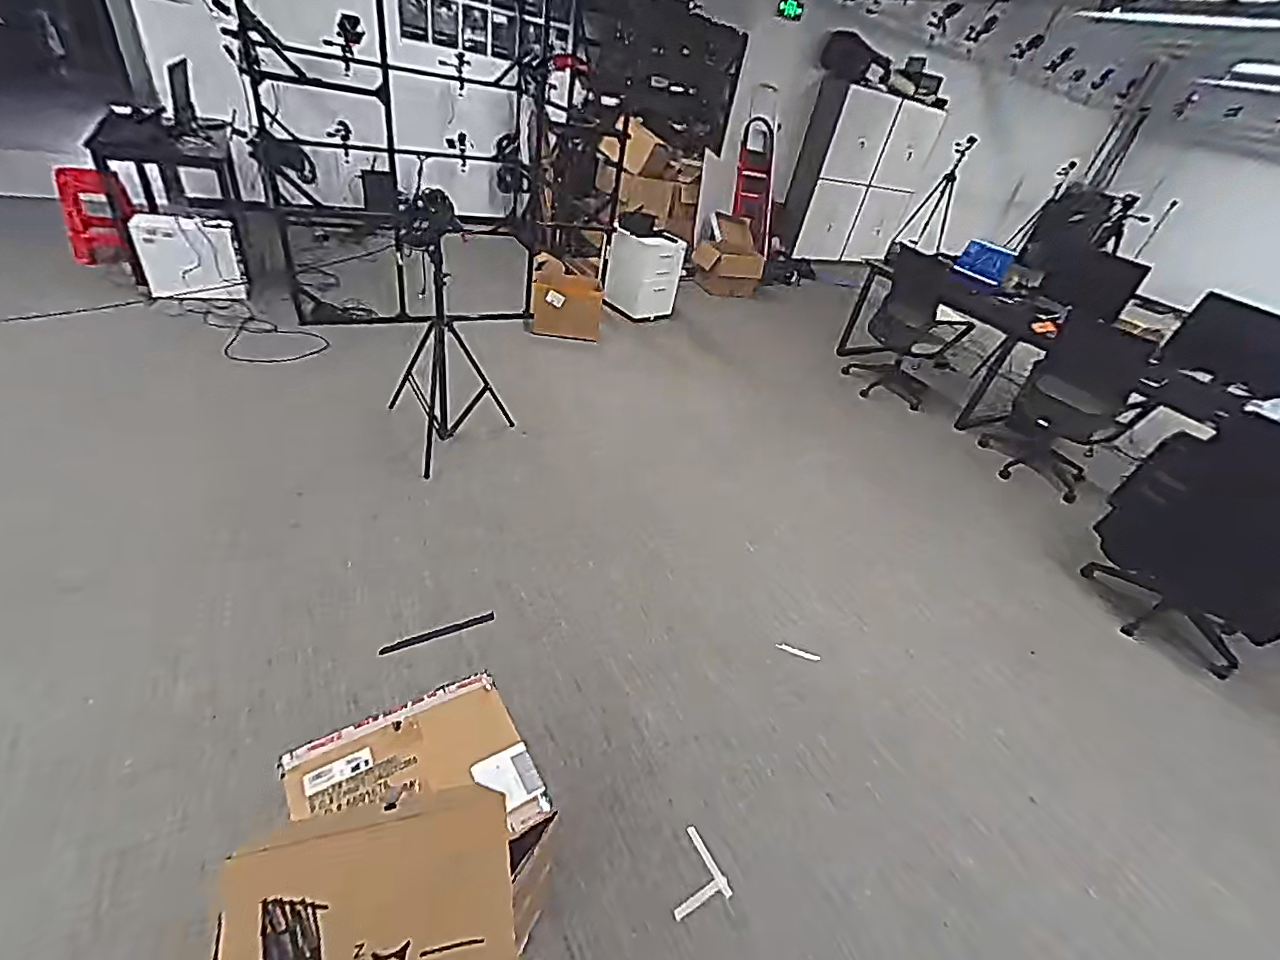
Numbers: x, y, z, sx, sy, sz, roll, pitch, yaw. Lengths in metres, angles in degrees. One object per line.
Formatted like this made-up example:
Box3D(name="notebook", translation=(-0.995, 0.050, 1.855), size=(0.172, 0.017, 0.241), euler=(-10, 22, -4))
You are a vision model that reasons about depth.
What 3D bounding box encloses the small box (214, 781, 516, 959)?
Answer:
Box3D(name="small box", translation=(-0.197, 0.338, 0.410), size=(0.179, 0.176, 0.168), euler=(1, 65, -24))
